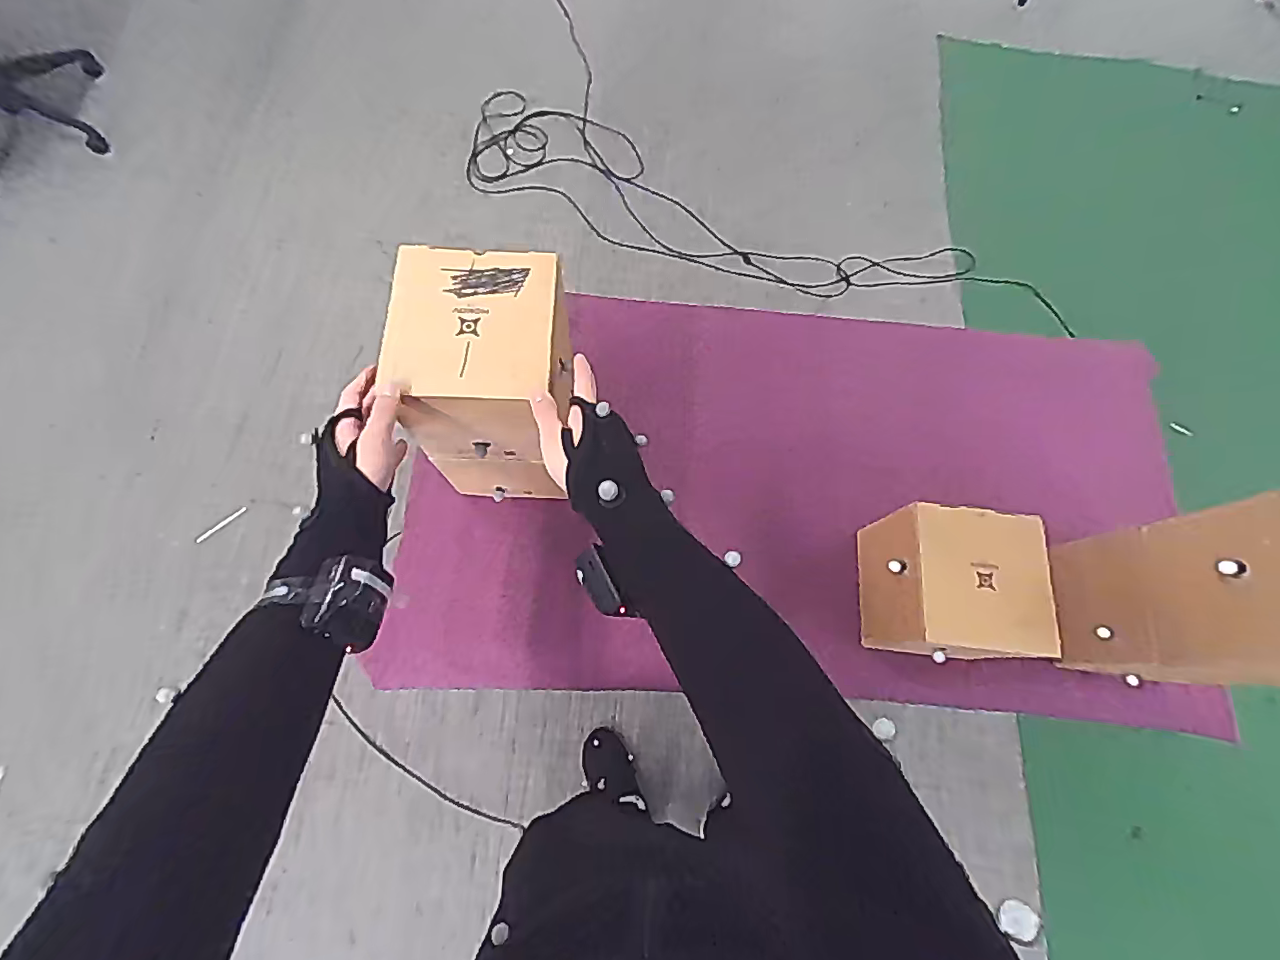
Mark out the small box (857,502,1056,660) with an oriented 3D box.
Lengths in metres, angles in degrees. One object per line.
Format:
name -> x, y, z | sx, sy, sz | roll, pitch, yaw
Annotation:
small box -> 0.410, 0.145, 0.734 | 0.168, 0.176, 0.179 | 7, 69, -1

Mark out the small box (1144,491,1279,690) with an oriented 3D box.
small box -> 0.701, 0.126, 0.582 | 0.168, 0.176, 0.179 | 8, 70, 1

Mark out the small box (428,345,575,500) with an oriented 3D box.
small box -> -0.183, -0.080, 0.771 | 0.168, 0.176, 0.179 | 2, 72, -3

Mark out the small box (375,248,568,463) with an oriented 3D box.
small box -> -0.173, -0.132, 0.616 | 0.168, 0.176, 0.179 | 2, 73, -2
